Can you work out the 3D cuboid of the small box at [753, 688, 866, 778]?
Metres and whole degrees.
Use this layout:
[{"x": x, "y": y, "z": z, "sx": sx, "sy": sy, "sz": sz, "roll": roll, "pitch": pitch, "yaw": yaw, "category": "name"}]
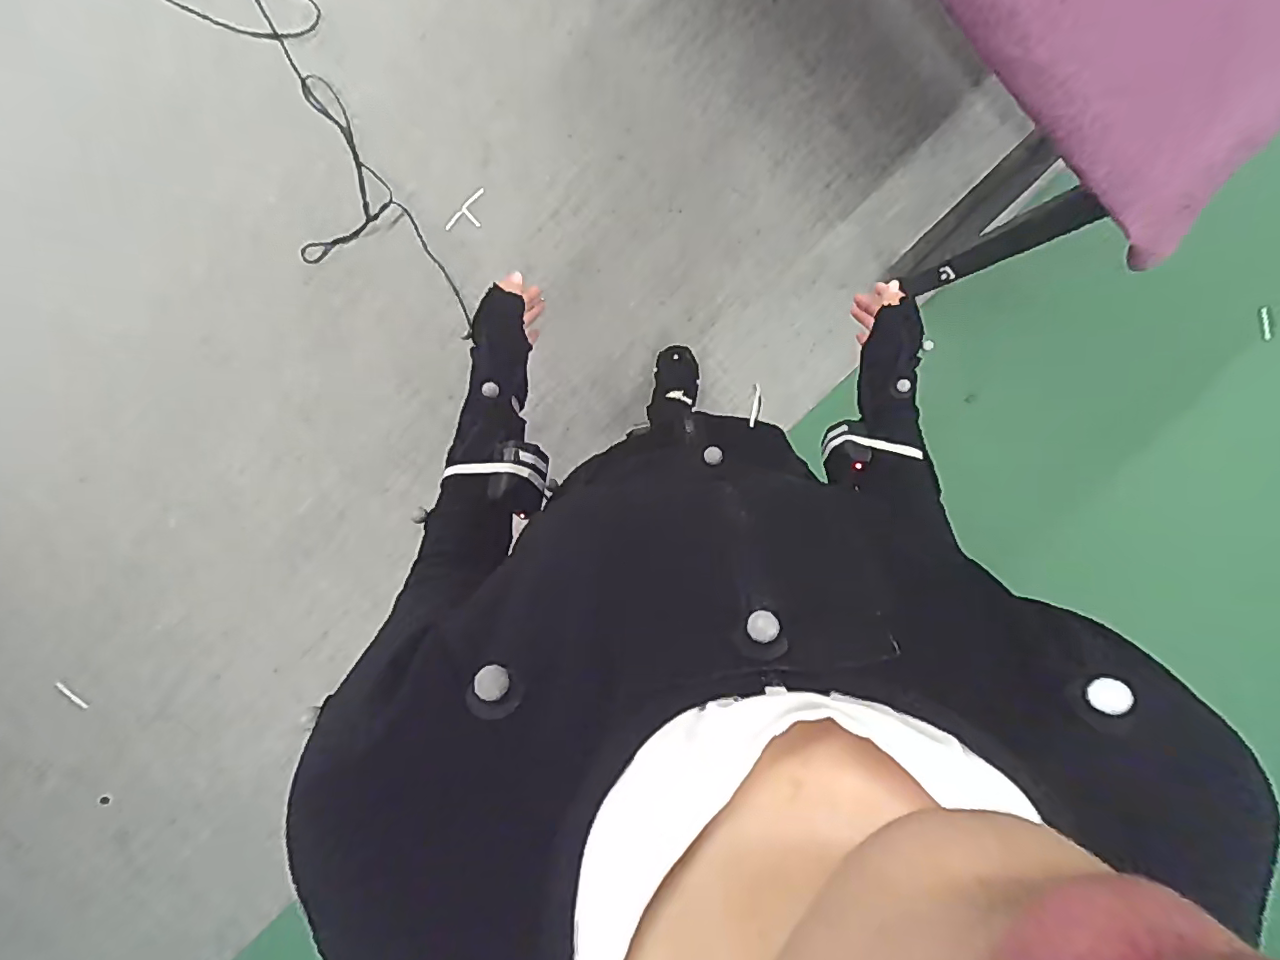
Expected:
[{"x": 0.395, "y": 0.639, "z": 1.296, "sx": 0.179, "sy": 0.176, "sz": 0.168, "roll": -44, "pitch": 95, "yaw": 6, "category": "small box"}]
